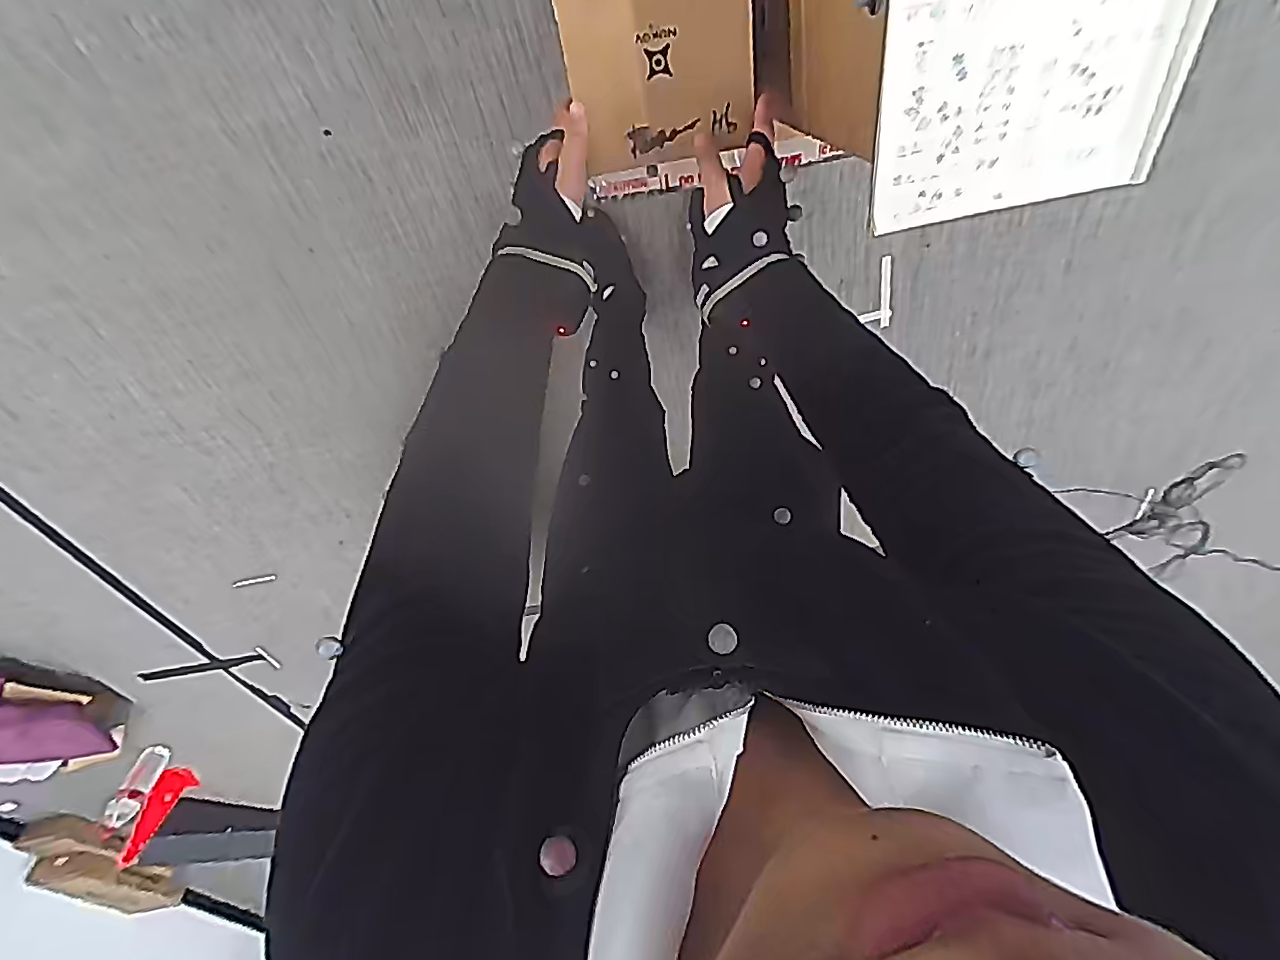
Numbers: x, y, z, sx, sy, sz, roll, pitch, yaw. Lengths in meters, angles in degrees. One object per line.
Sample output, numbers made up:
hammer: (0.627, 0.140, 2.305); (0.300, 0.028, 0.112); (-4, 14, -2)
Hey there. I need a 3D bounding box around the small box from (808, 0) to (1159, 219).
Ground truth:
small box: (0.235, -0.324, 0.407); (0.168, 0.176, 0.179); (-11, 131, 2)
